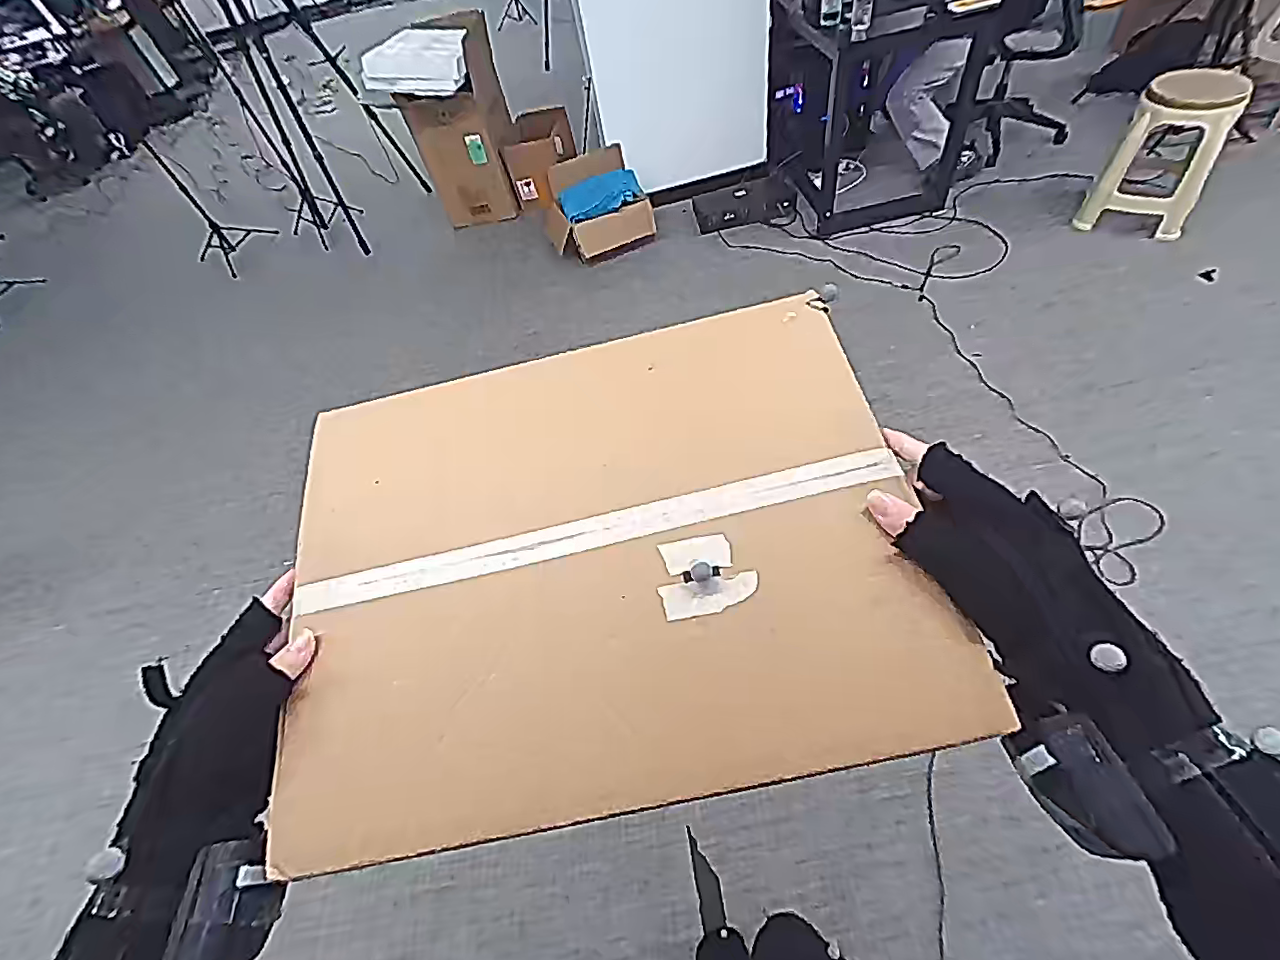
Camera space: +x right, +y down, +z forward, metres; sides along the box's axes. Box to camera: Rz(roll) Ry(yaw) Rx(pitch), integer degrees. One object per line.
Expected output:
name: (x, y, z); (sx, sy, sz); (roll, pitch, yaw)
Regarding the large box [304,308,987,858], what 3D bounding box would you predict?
large box: (-0.009, 0.105, 0.501); (0.408, 0.320, 0.320); (-13, 63, 2)
